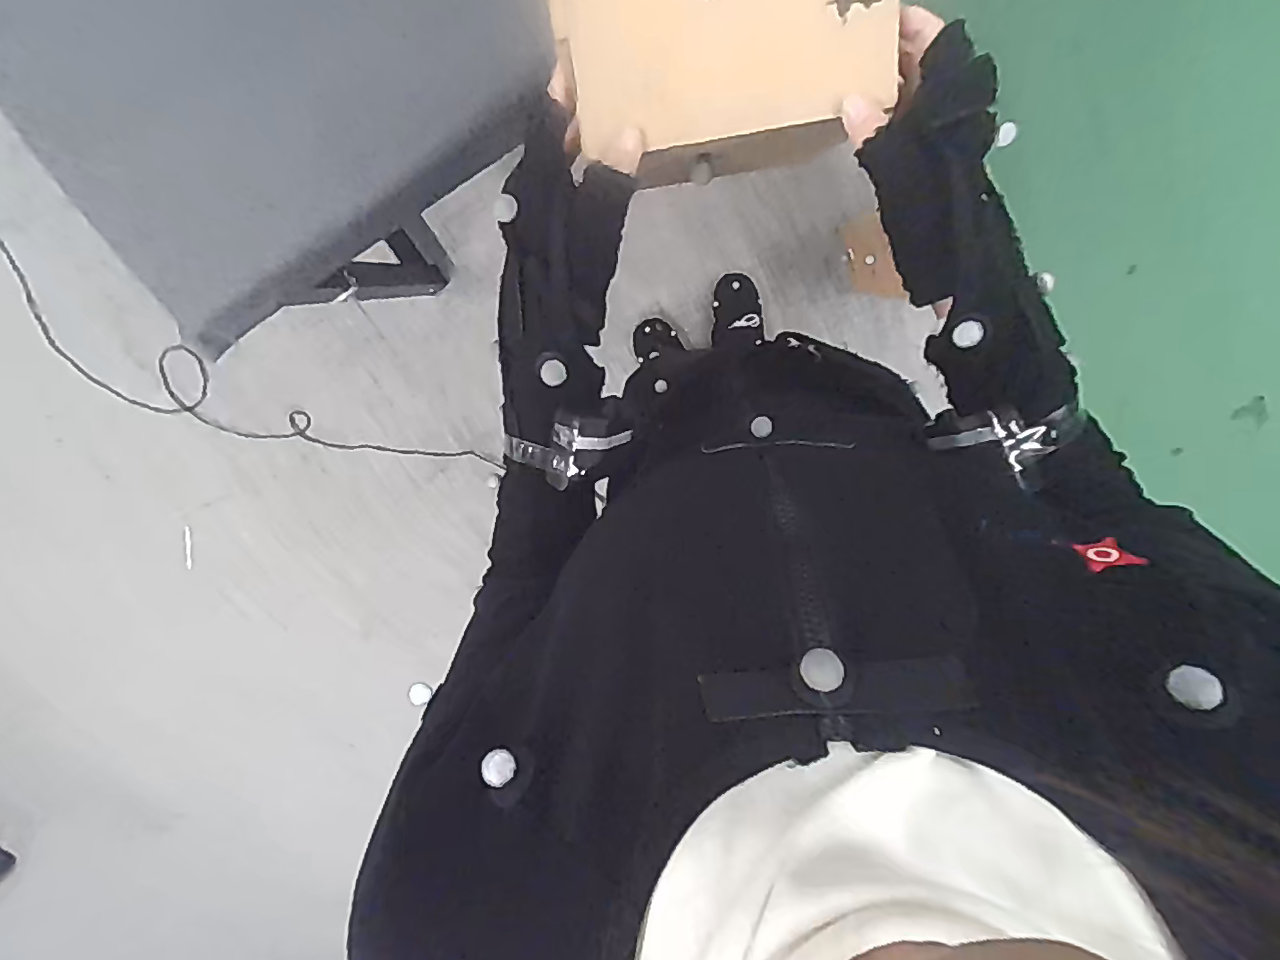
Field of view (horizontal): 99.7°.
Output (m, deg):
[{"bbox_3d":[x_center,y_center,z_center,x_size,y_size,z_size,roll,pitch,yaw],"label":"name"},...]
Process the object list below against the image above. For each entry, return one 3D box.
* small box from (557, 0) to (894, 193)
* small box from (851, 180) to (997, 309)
[{"bbox_3d":[0.046,-0.295,0.349,0.179,0.176,0.168,-5,111,5],"label":"small box"},{"bbox_3d":[0.534,-0.441,1.035,0.179,0.176,0.168,-21,106,9],"label":"small box"}]
